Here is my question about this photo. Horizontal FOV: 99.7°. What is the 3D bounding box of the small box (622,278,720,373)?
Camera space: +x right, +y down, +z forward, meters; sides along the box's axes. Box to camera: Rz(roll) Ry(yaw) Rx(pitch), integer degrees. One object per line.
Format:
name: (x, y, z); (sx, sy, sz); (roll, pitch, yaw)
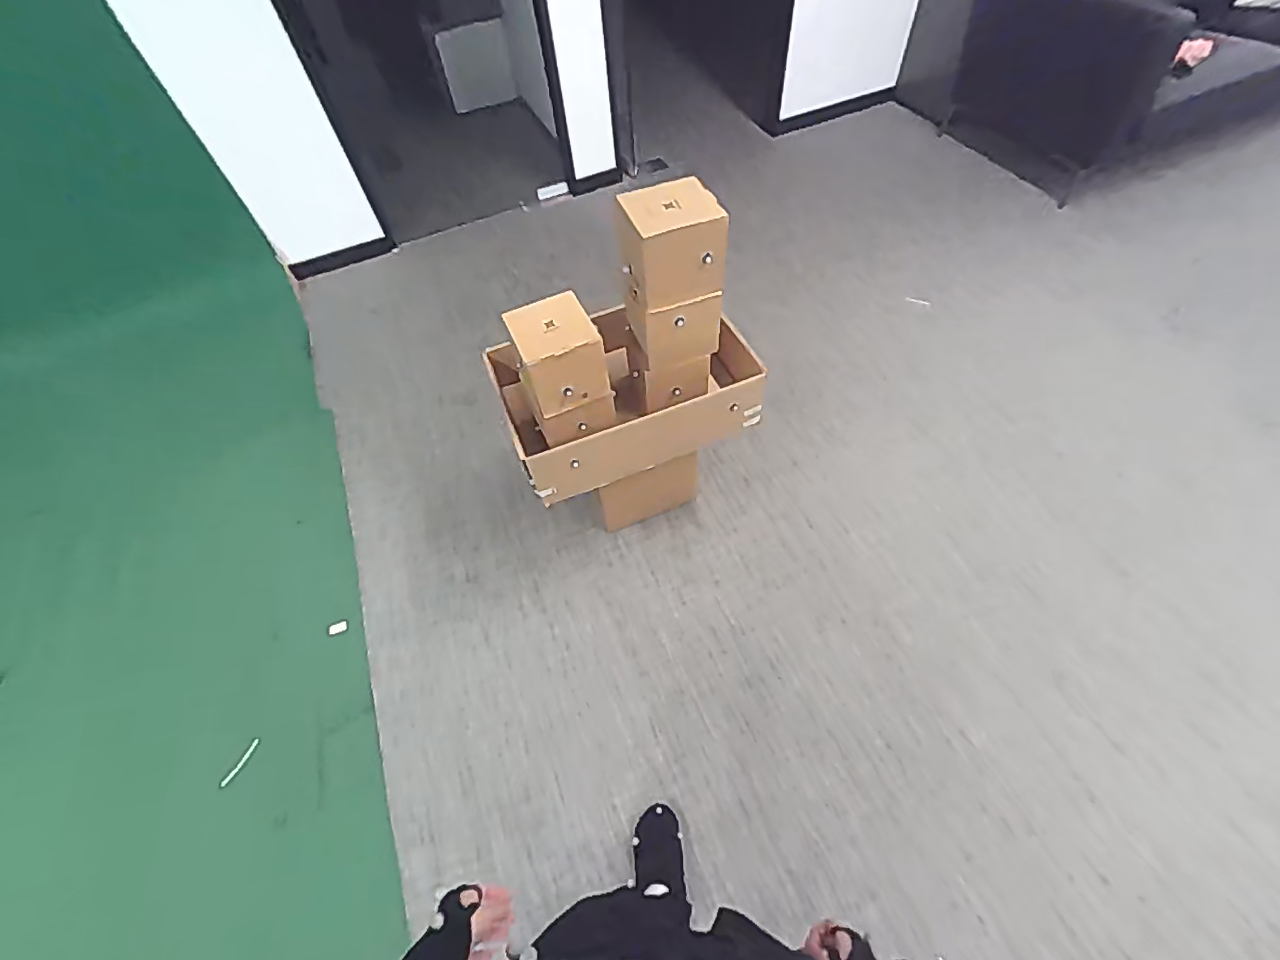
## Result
small box: (0.072, -0.374, 1.248); (0.179, 0.176, 0.168); (-18, 56, -8)

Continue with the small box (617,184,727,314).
small box: (0.063, -0.475, 1.121); (0.179, 0.176, 0.168); (-18, 55, -8)
